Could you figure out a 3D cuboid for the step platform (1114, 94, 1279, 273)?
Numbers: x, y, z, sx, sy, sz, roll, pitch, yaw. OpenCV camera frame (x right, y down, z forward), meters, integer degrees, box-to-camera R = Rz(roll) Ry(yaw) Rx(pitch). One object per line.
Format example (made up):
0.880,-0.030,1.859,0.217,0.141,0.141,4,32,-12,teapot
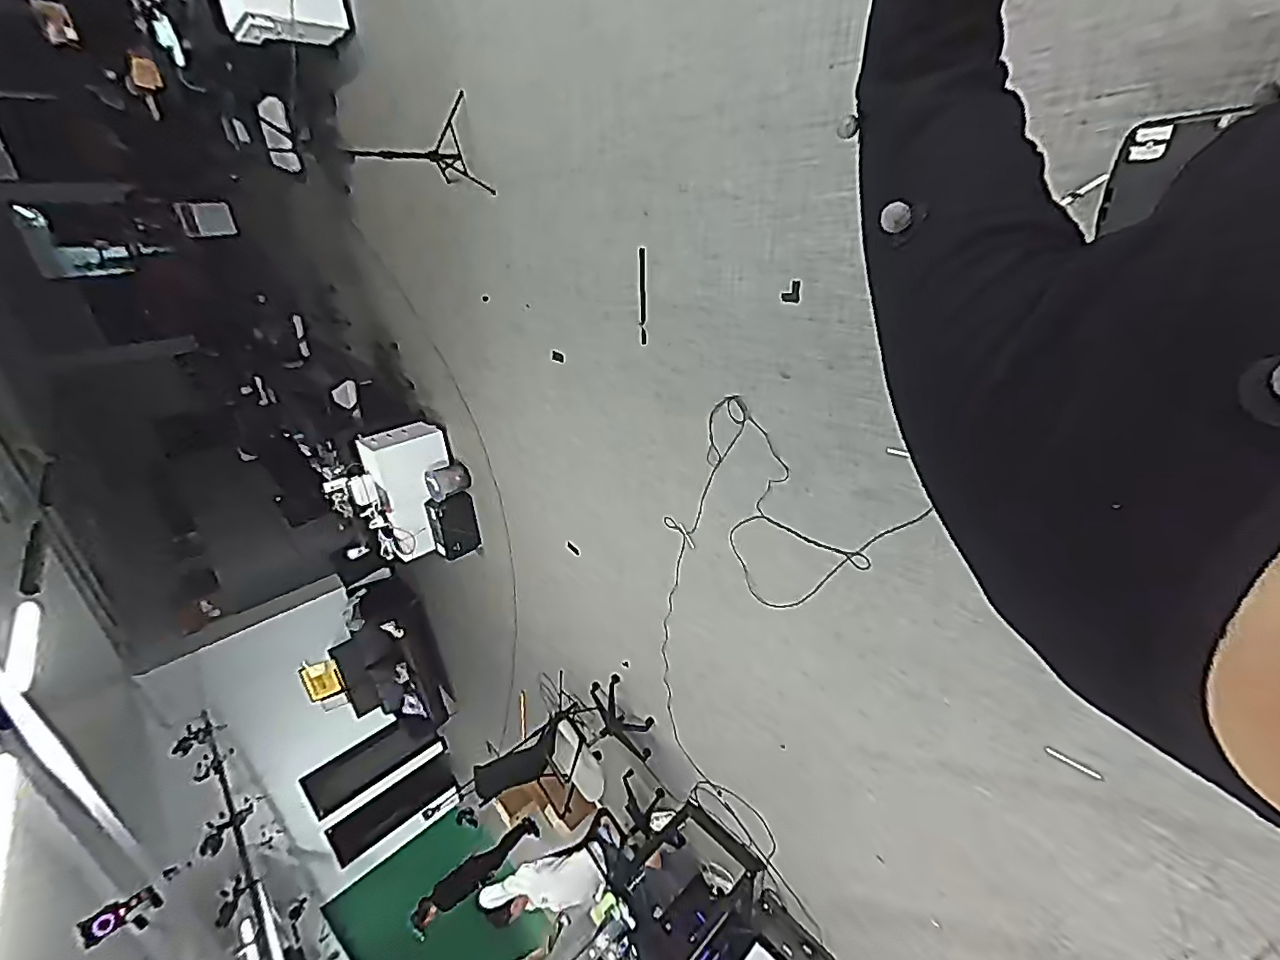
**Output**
1.235,-0.497,0.885,0.684,0.204,0.286,20,124,42,step platform
